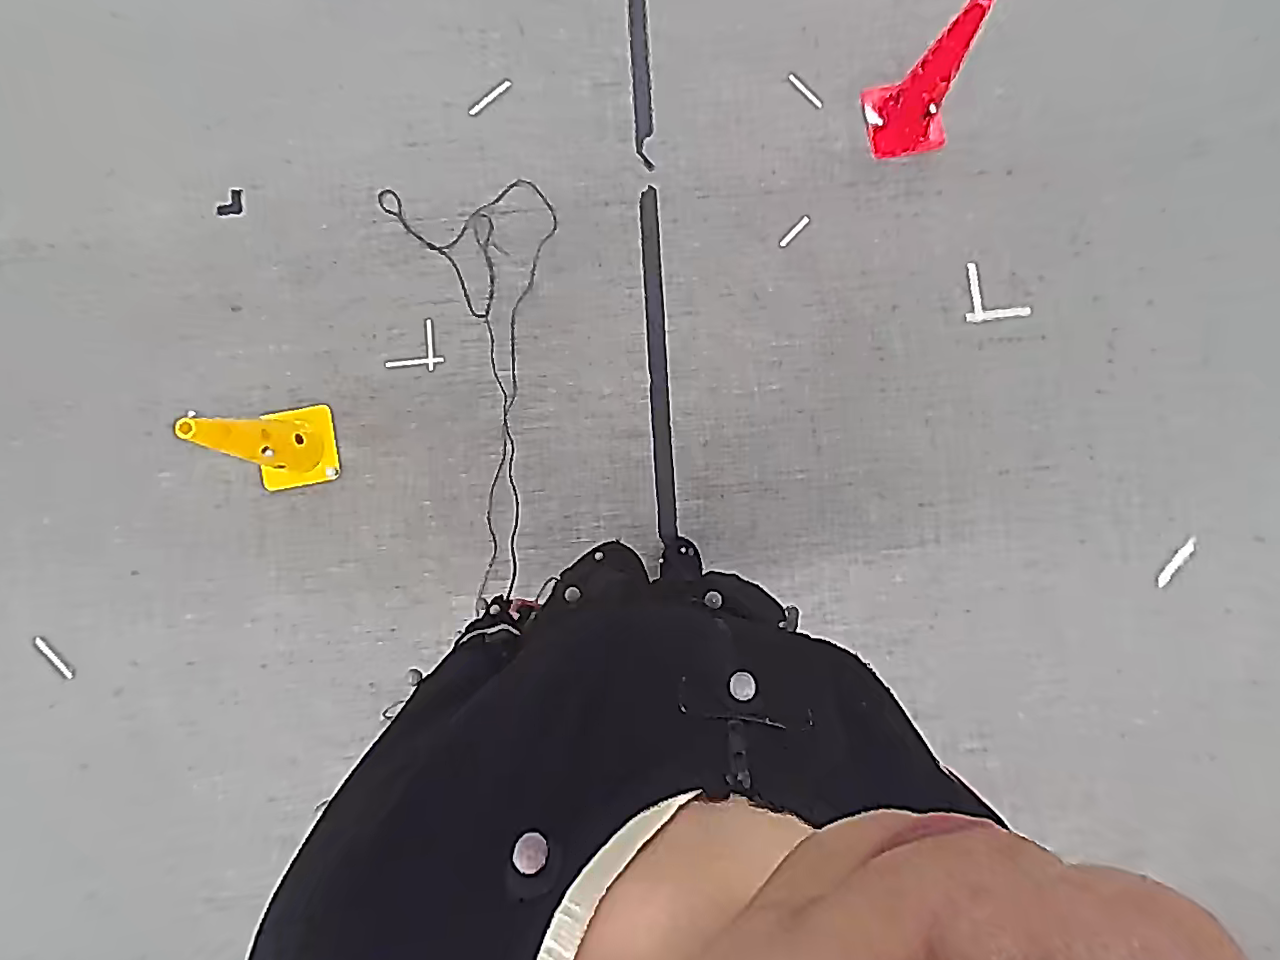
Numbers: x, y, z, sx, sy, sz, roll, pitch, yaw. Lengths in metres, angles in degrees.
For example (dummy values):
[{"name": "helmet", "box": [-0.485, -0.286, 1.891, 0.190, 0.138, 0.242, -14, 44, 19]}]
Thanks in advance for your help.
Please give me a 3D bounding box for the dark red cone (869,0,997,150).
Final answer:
[{"name": "dark red cone", "box": [0.709, -0.984, 1.257, 0.201, 0.394, 0.202, -11, 87, 1]}]
